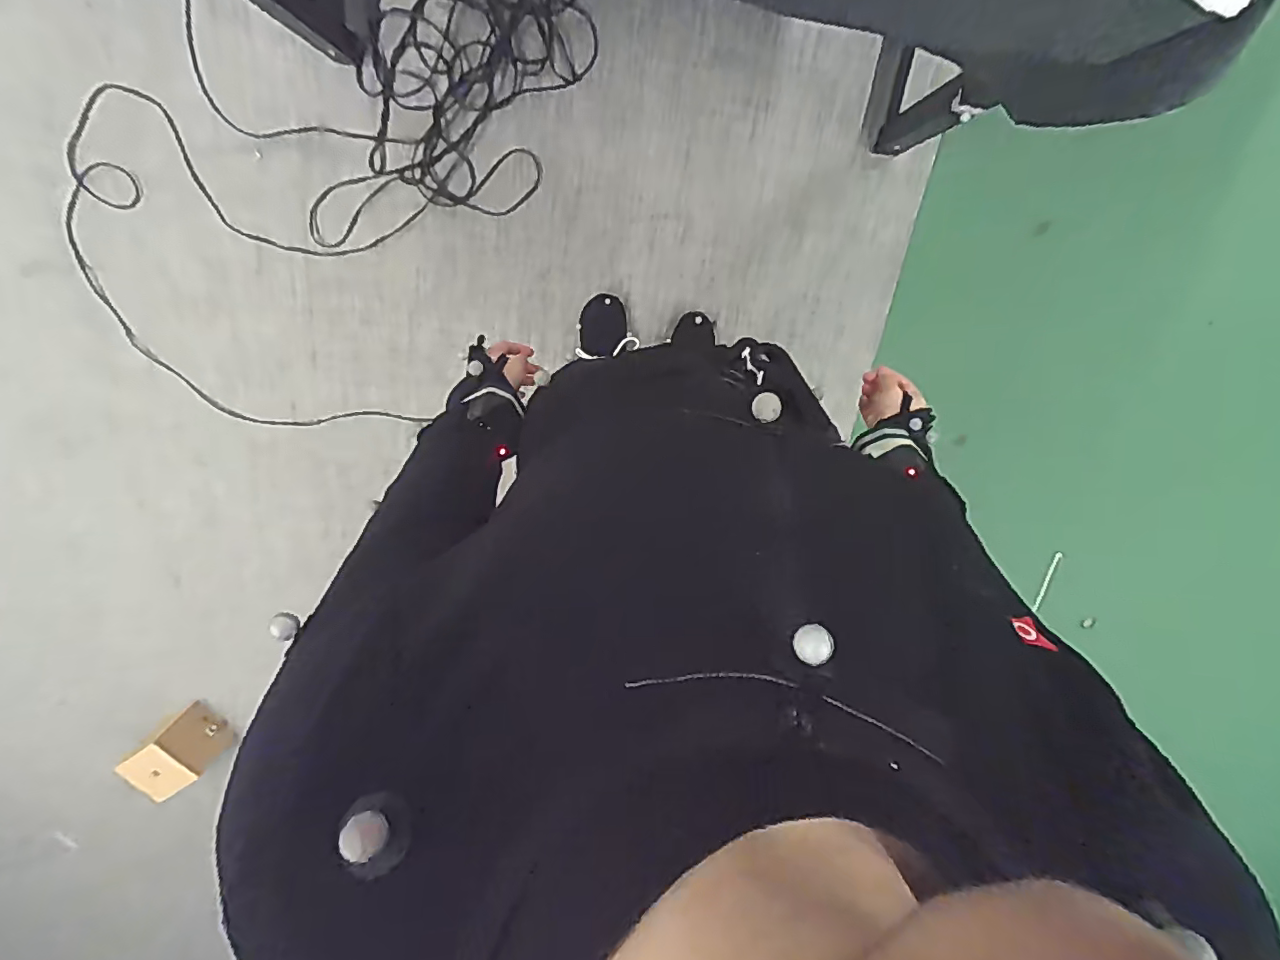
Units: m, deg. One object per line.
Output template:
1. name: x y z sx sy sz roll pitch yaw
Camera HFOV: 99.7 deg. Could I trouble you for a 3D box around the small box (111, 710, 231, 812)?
1. small box: -1.378 0.828 1.604 0.179 0.176 0.168 -34 108 11
